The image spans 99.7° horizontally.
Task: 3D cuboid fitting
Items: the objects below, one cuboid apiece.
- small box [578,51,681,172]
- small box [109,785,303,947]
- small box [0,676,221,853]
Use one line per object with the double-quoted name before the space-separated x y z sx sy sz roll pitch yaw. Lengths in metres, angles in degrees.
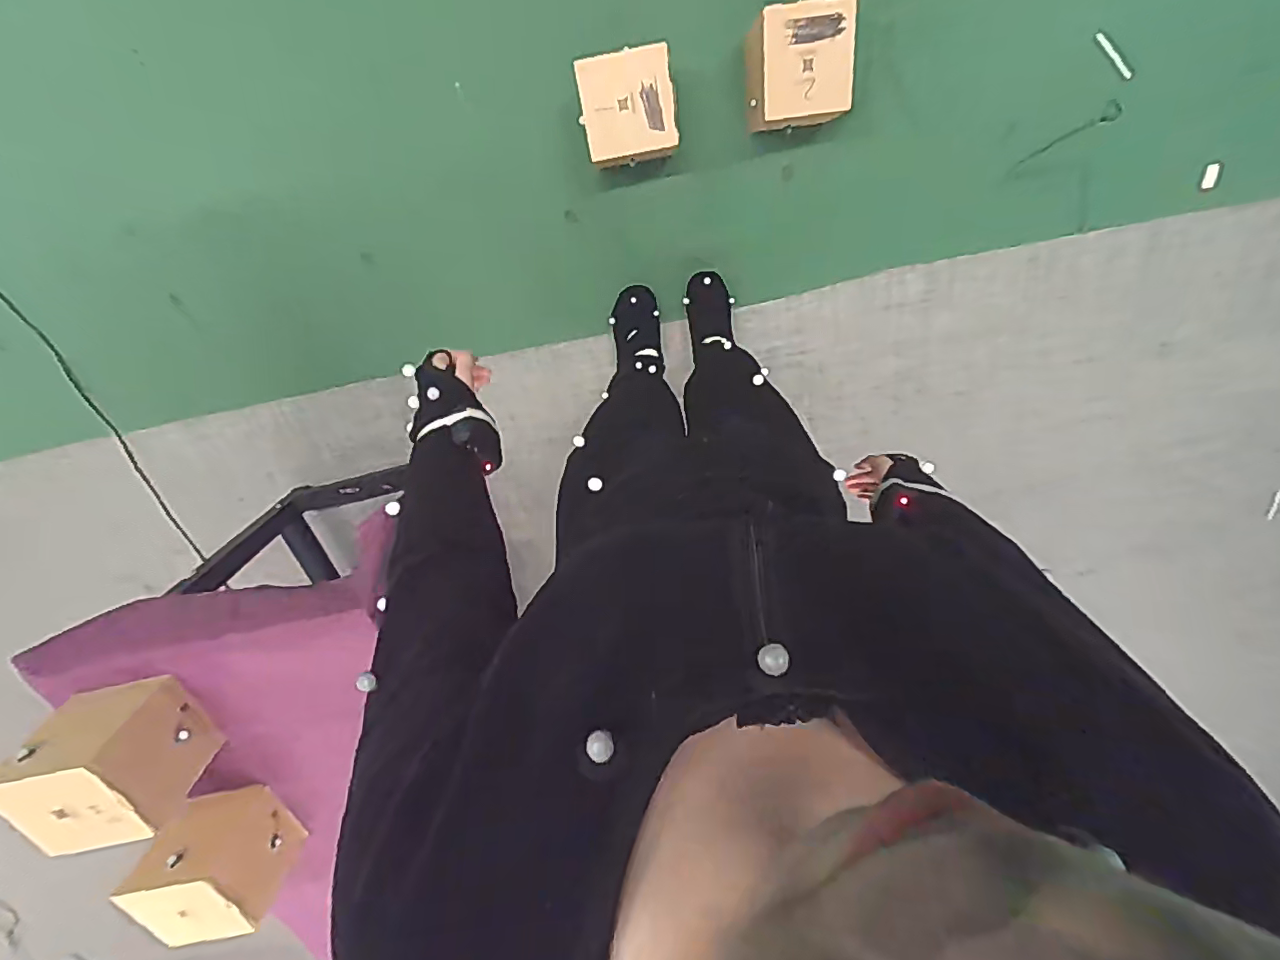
"small box" -0.017 -0.736 1.096 0.179 0.176 0.168 -8 115 5
"small box" -0.764 0.690 0.976 0.179 0.176 0.168 -14 115 5
"small box" -0.825 0.438 0.847 0.179 0.176 0.168 -12 116 2
